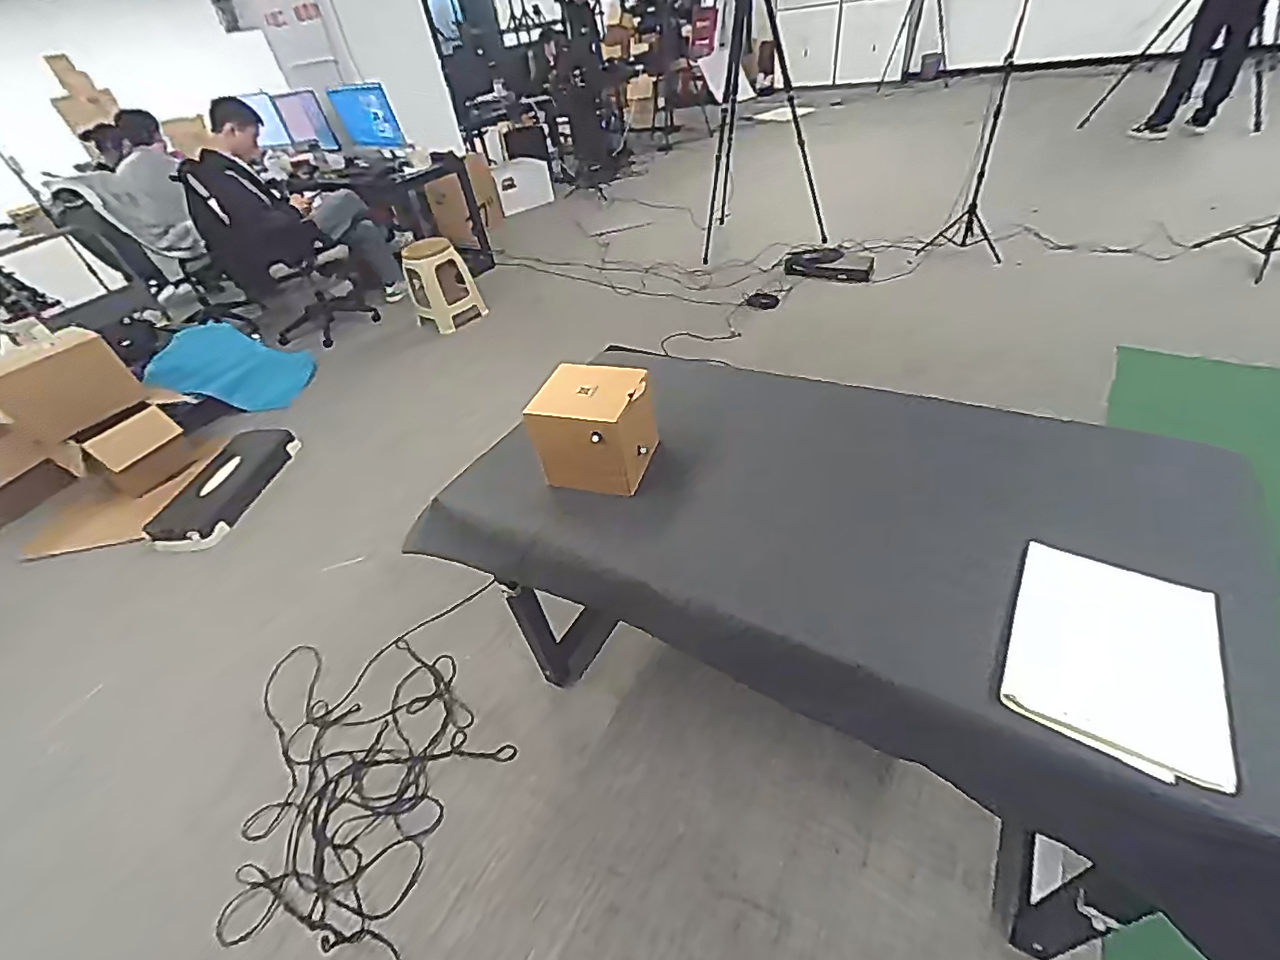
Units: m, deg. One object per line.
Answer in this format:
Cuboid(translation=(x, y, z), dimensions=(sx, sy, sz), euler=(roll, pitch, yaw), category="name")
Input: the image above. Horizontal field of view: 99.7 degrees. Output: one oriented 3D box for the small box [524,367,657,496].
Cuboid(translation=(-0.080, -0.089, 0.988), dimensions=(0.179, 0.176, 0.168), euler=(7, 43, 18), category="small box")
